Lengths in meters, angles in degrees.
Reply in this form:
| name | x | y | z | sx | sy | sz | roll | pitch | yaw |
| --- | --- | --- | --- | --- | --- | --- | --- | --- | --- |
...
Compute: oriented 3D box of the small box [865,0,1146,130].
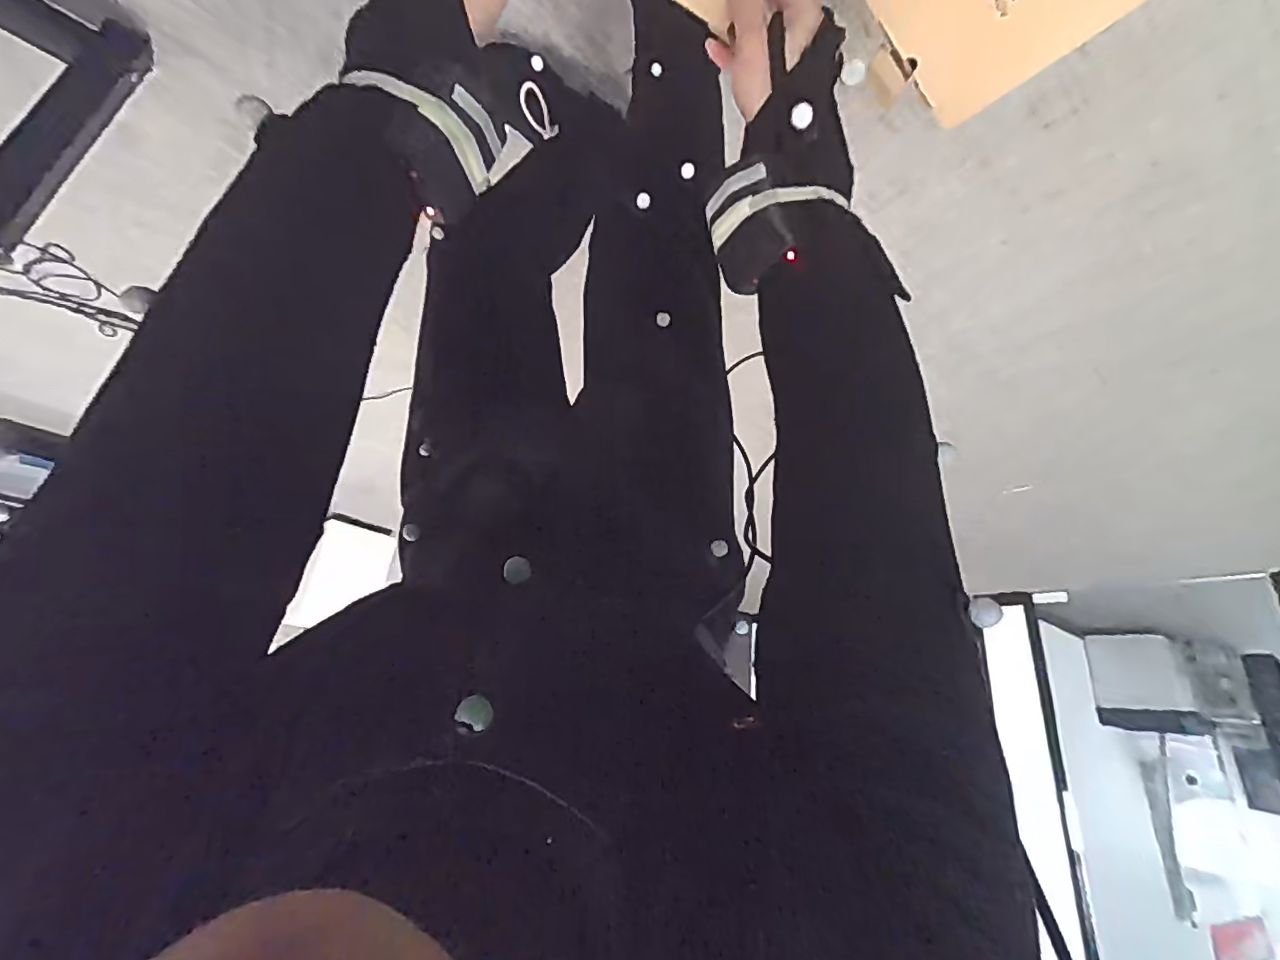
| name | x | y | z | sx | sy | sz | roll | pitch | yaw |
| --- | --- | --- | --- | --- | --- | --- | --- | --- | --- |
| small box | 0.298 | -0.457 | 0.447 | 0.168 | 0.176 | 0.179 | 24 | 151 | -35 |
